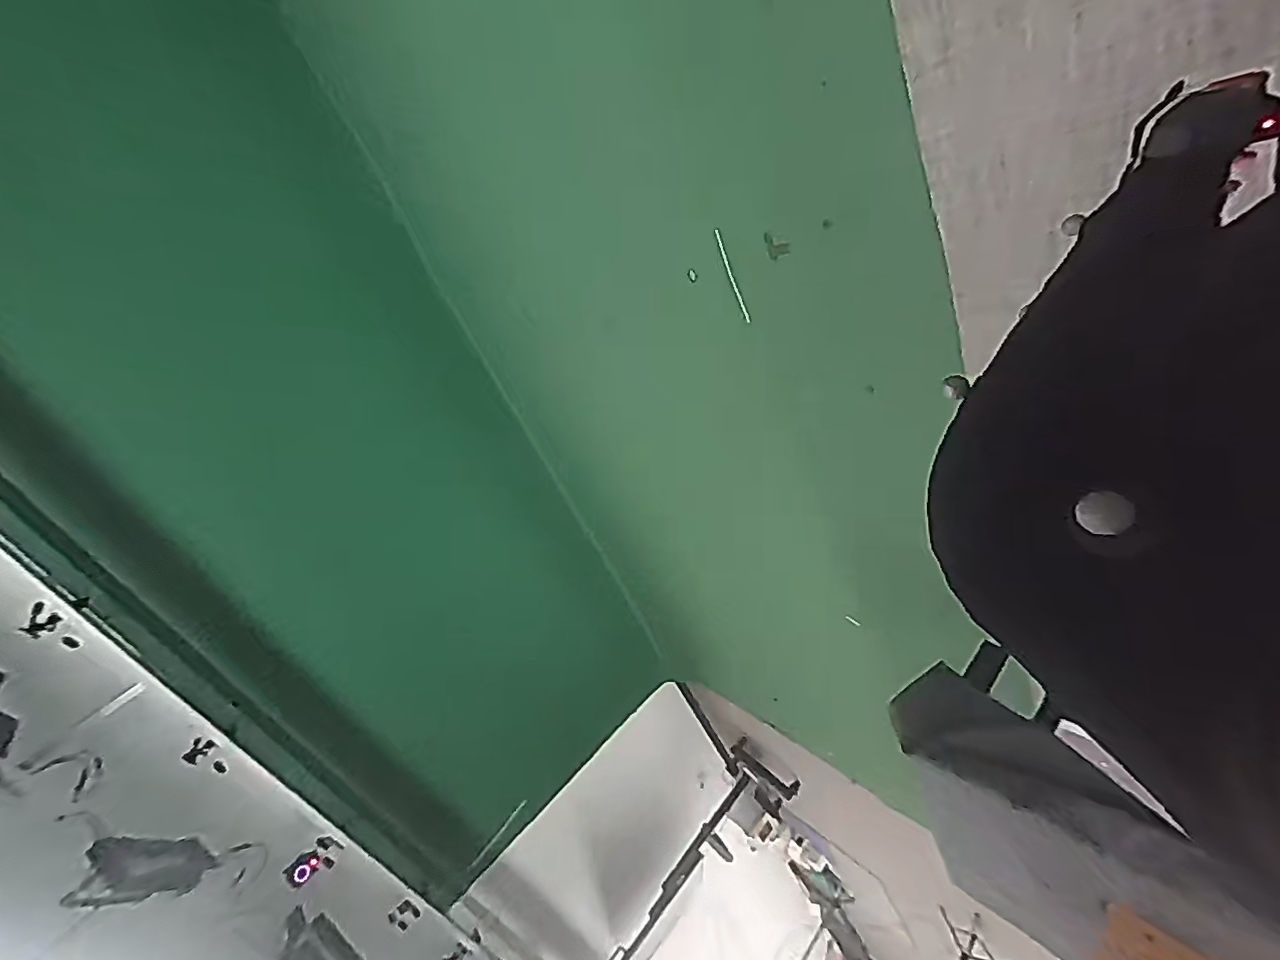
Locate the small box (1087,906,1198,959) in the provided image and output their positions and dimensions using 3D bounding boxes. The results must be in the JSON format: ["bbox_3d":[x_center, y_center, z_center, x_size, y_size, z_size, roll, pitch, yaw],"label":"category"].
[{"bbox_3d":[0.926,0.934,0.981,0.168,0.176,0.179,16,139,53],"label":"small box"}]
